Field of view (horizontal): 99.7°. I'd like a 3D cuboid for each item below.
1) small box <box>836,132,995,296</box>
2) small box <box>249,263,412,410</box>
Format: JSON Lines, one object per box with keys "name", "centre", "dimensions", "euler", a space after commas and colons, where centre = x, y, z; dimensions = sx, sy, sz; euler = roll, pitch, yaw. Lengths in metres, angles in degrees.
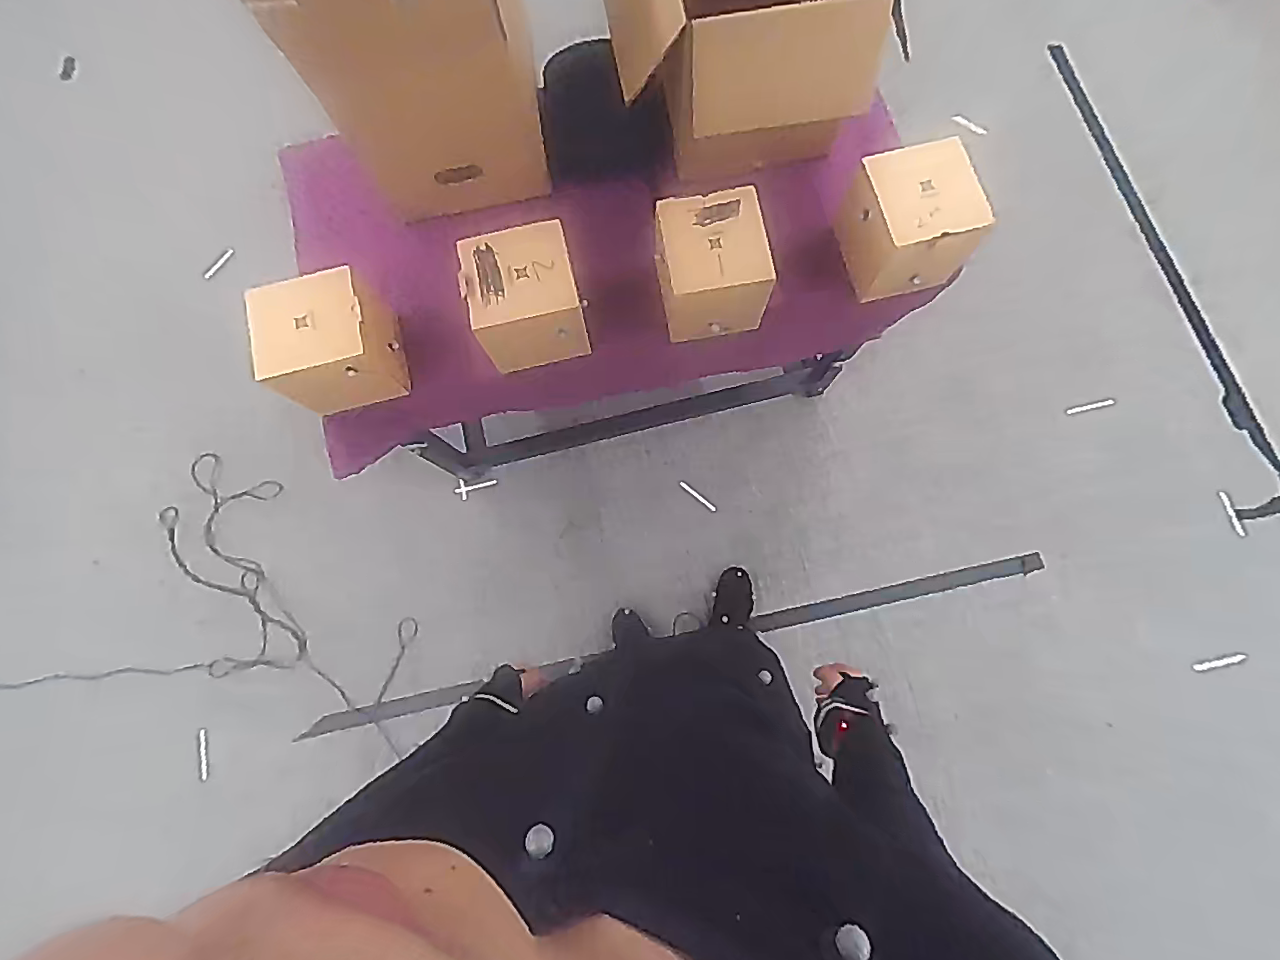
{"name": "small box", "centre": [0.464, -0.455, 0.944], "dimensions": [0.168, 0.176, 0.179], "euler": [-13, 78, 1]}
{"name": "small box", "centre": [-0.526, -0.237, 0.935], "dimensions": [0.179, 0.176, 0.168], "euler": [-15, 78, -3]}
